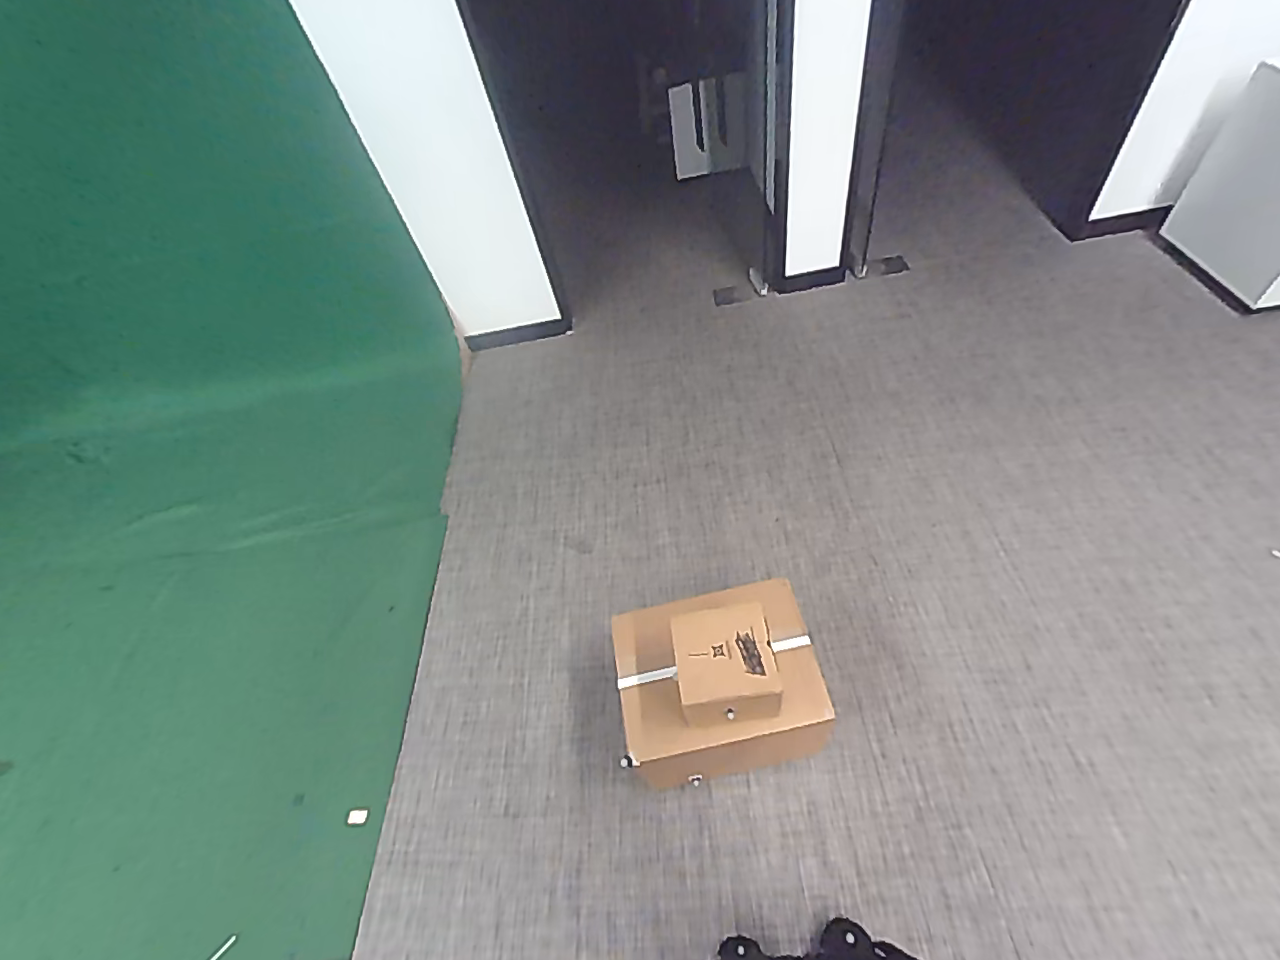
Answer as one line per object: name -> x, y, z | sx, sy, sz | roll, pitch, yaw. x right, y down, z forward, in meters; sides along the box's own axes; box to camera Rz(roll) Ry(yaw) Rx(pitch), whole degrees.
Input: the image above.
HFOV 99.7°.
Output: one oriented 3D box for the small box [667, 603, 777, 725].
small box -> 0.156, 0.356, 1.037 | 0.179, 0.176, 0.168 | -11, 51, 5
